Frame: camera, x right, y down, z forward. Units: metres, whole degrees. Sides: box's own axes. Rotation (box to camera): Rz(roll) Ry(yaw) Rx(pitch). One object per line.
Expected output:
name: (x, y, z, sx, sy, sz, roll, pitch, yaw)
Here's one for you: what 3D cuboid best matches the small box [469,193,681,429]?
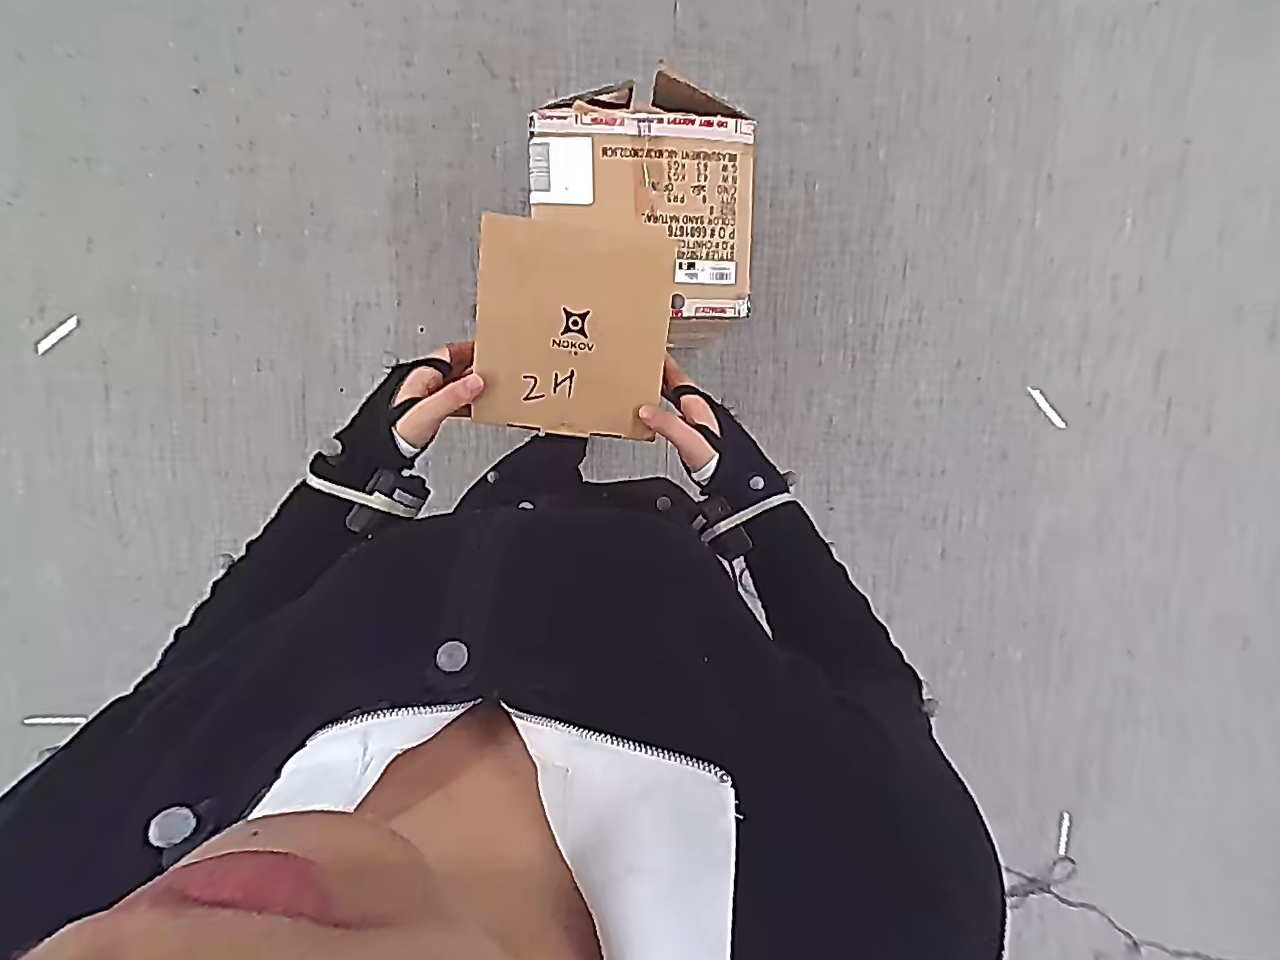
small box: (-0.065, -0.155, 0.539, 0.168, 0.176, 0.179, 6, 101, -7)
